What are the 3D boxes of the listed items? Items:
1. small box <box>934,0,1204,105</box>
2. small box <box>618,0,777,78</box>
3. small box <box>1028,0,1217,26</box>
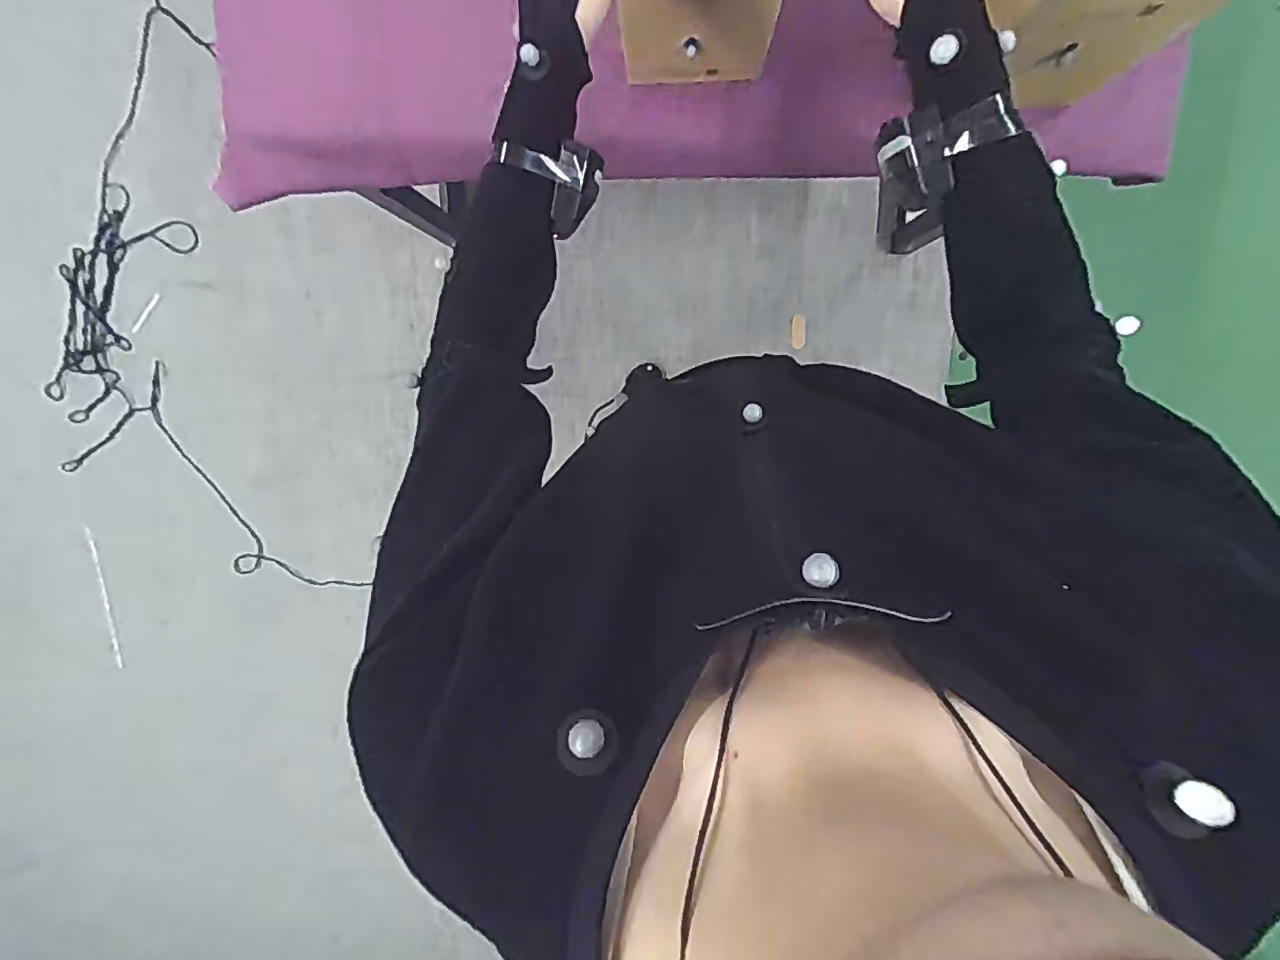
[{"bbox_3d":[0.442,-0.526,0.568,0.179,0.176,0.168,-1,101,6],"label":"small box"},{"bbox_3d":[0.065,-0.574,0.591,0.168,0.176,0.179,0,99,5],"label":"small box"},{"bbox_3d":[0.429,-0.497,0.407,0.168,0.176,0.179,0,100,7],"label":"small box"}]
